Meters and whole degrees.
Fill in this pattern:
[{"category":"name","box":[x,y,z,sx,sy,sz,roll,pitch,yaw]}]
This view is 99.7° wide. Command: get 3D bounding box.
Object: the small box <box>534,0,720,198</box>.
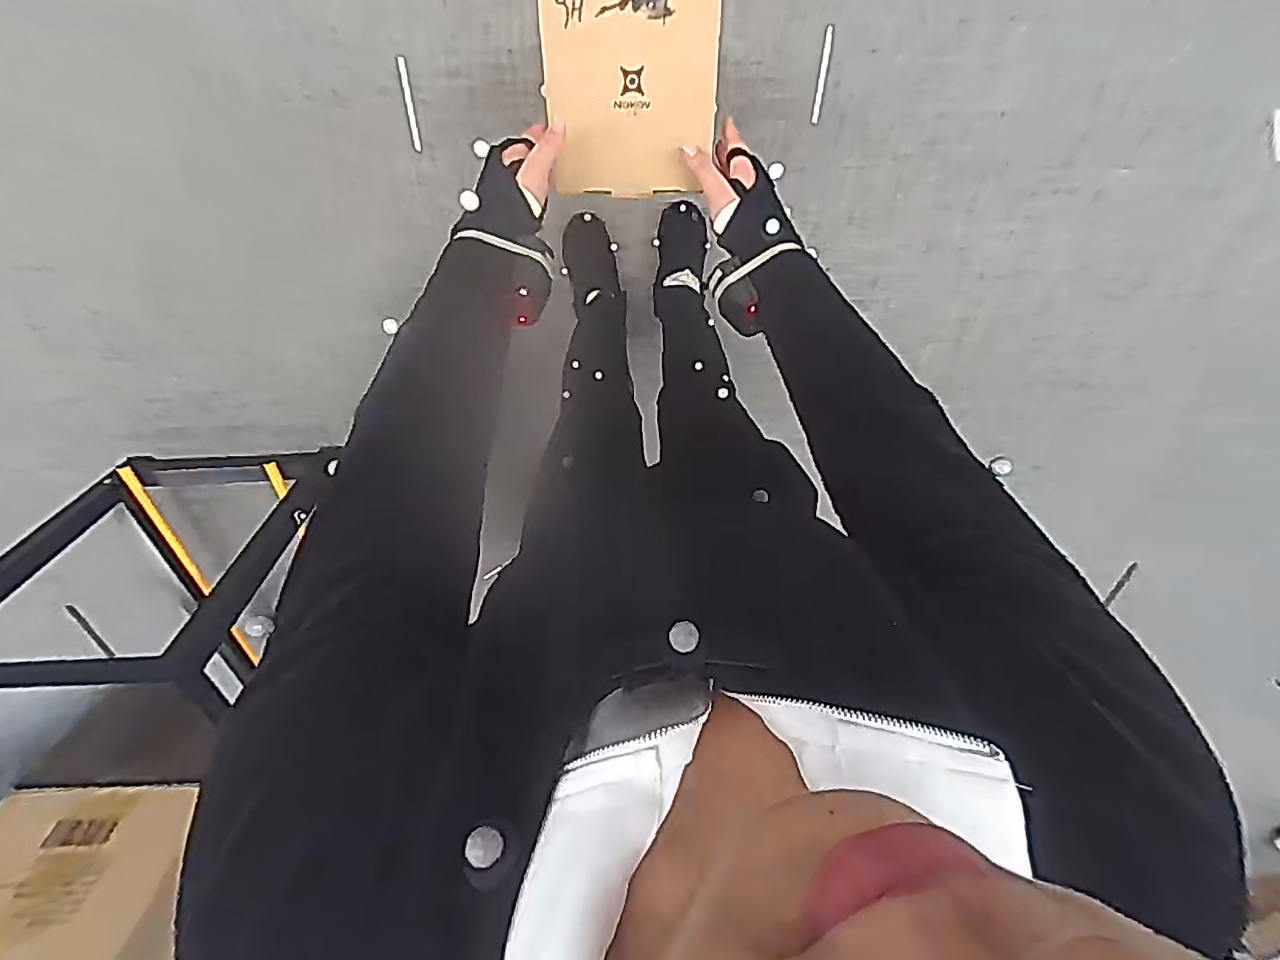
[{"category":"small box","box":[-0.014,-0.415,0.578,0.168,0.176,0.179,-1,127,-2]}]
